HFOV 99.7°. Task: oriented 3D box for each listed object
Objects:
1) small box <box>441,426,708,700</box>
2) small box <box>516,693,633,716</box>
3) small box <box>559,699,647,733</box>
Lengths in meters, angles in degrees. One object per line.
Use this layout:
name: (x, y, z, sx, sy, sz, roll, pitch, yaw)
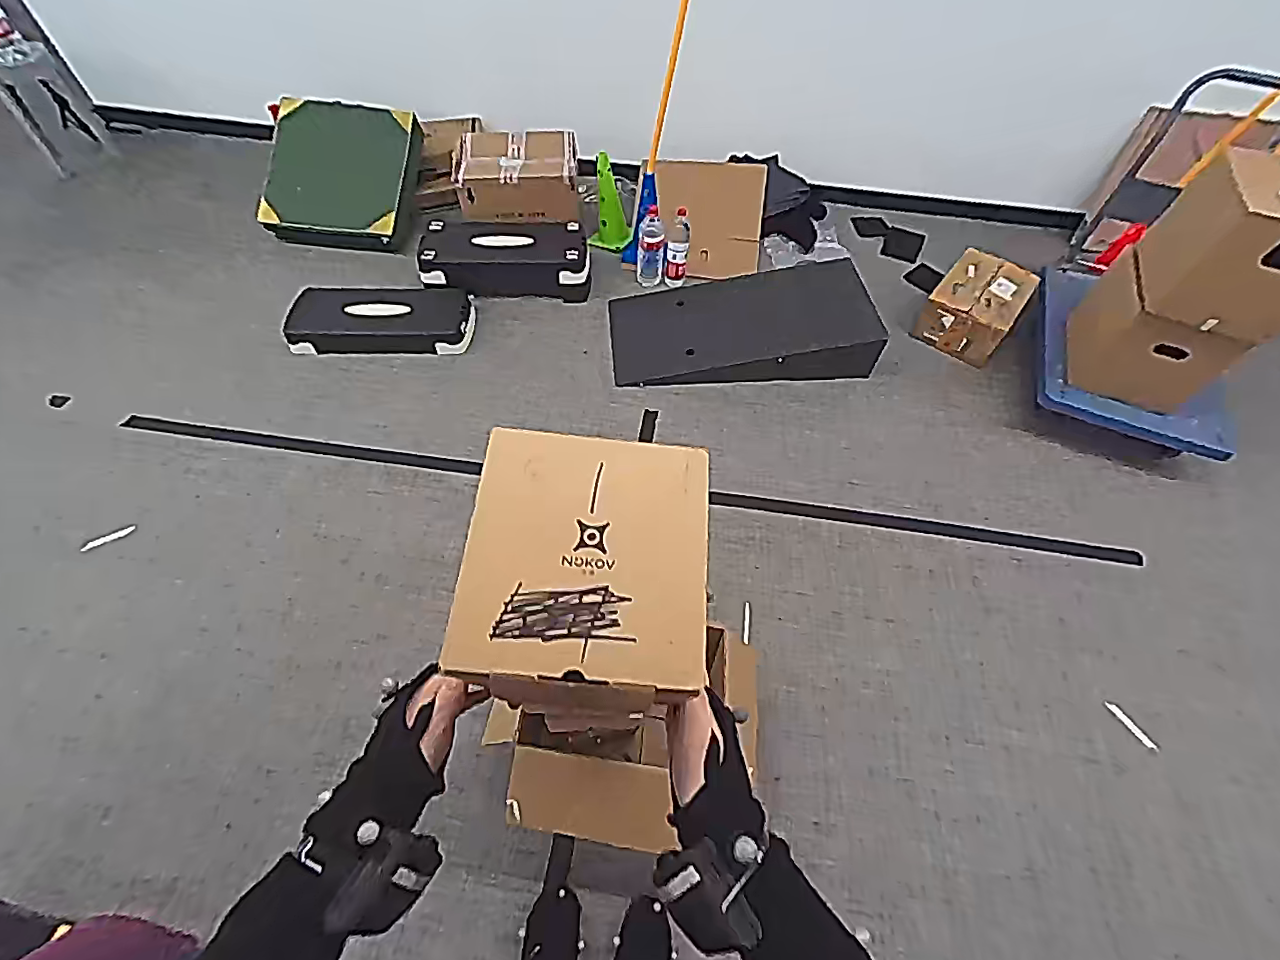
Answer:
small box: (-0.043, 0.079, 0.445, 0.168, 0.176, 0.179, 7, 64, -2)
small box: (-0.095, 0.280, 0.873, 0.179, 0.176, 0.168, 4, 60, -3)
small box: (-0.090, 0.435, 1.165, 0.179, 0.176, 0.168, -7, 60, -11)
